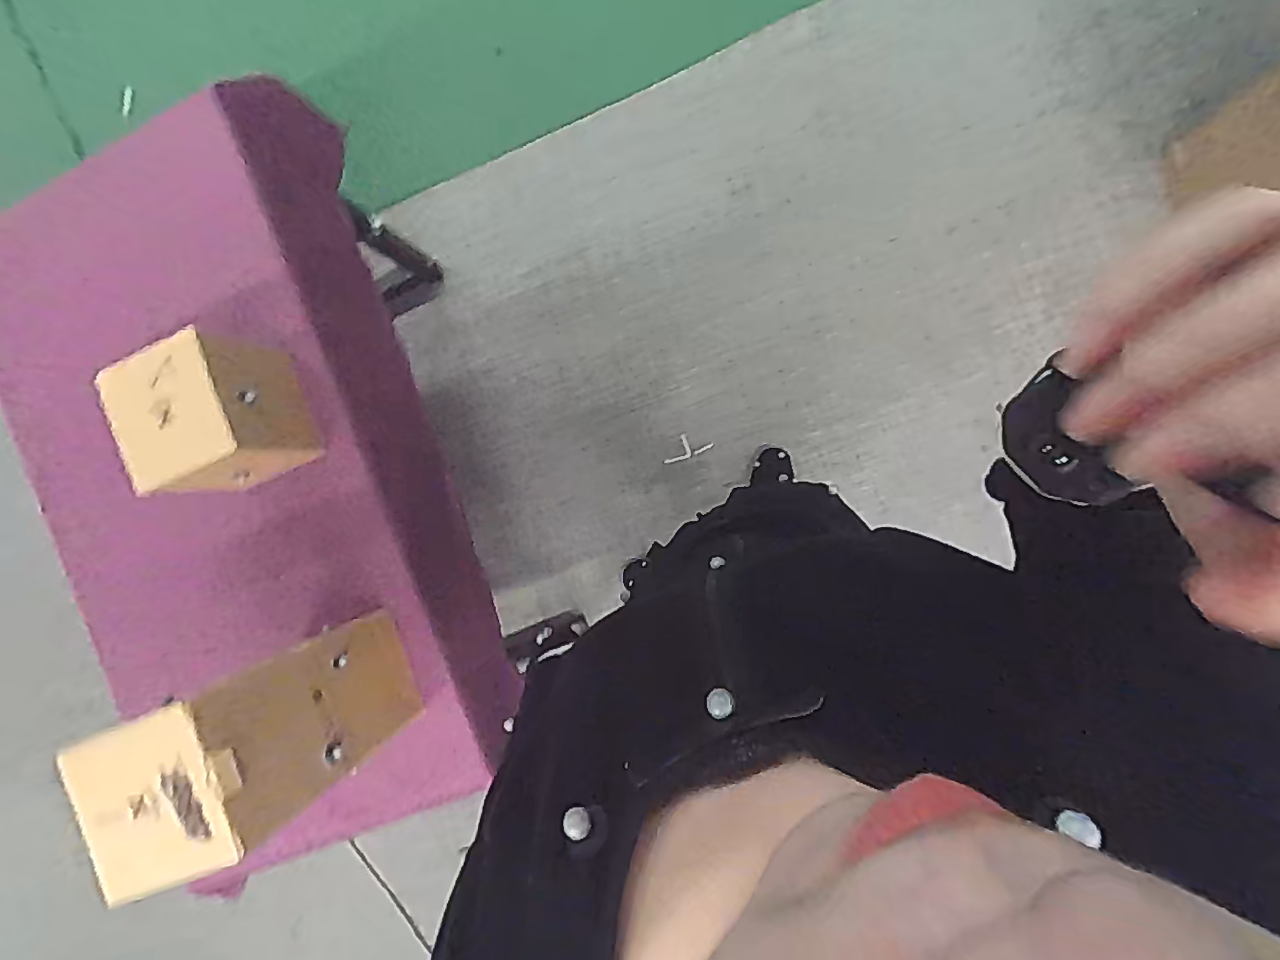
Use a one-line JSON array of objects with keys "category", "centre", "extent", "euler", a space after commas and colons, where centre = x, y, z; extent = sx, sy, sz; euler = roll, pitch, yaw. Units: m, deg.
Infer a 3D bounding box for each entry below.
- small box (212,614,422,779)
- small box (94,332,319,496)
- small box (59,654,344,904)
[{"category": "small box", "centre": [-0.451, 0.319, 0.782], "extent": [0.168, 0.176, 0.179], "euler": [-23, 88, 9]}, {"category": "small box", "centre": [-0.615, -0.089, 0.790], "extent": [0.168, 0.176, 0.179], "euler": [-21, 89, 8]}, {"category": "small box", "centre": [-0.477, 0.324, 0.620], "extent": [0.179, 0.176, 0.168], "euler": [-23, 88, 10]}]
